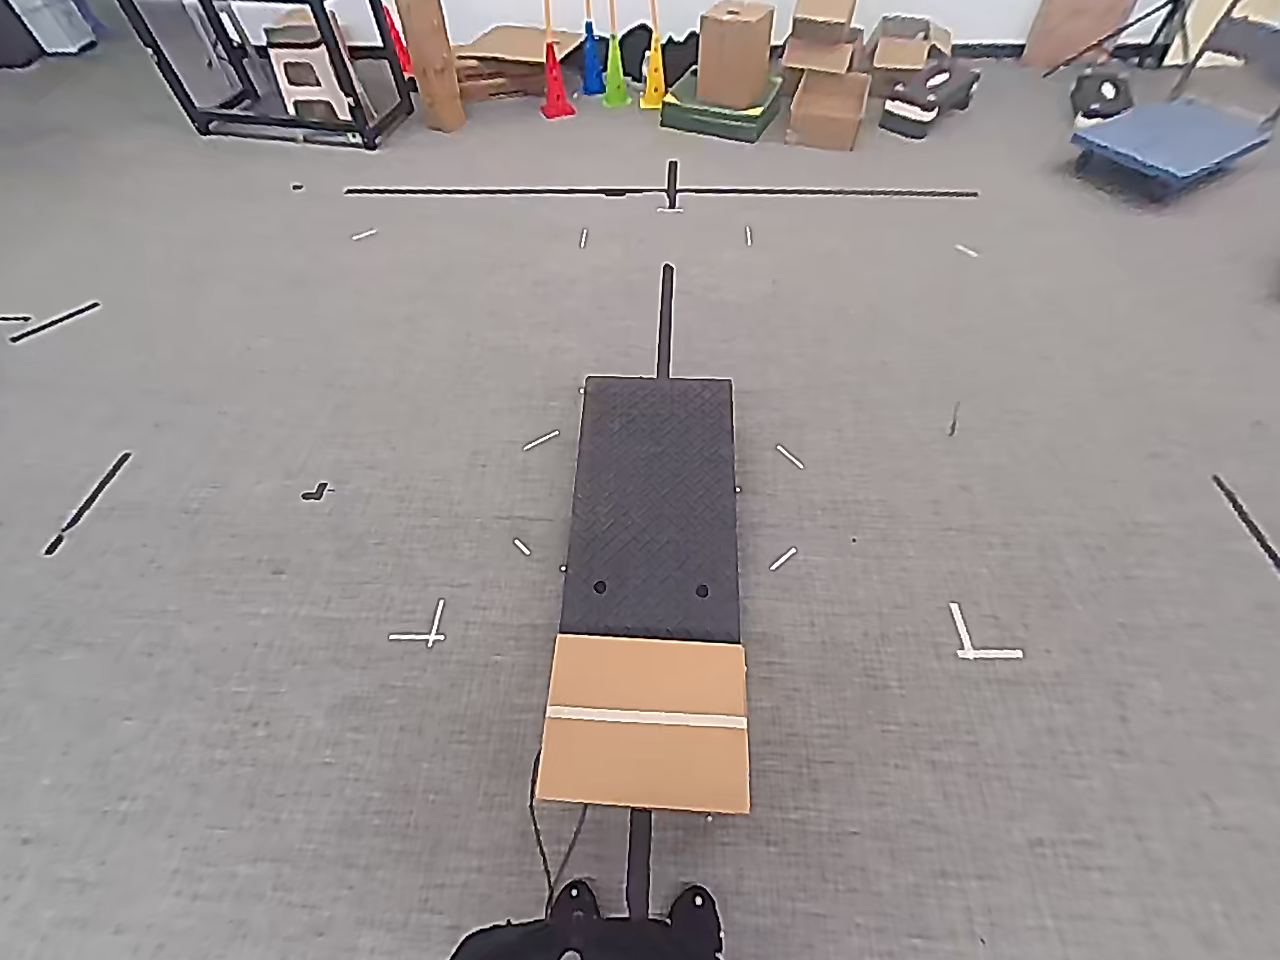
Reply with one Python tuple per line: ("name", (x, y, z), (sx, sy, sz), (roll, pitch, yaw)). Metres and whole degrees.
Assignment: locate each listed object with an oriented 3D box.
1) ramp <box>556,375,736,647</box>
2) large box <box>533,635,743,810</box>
("ramp", (0.032, 0.109, 1.611), (0.509, 0.206, 0.991), (2, 55, 0))
("large box", (0.004, 0.552, 1.220), (0.408, 0.320, 0.320), (3, 58, 2))
